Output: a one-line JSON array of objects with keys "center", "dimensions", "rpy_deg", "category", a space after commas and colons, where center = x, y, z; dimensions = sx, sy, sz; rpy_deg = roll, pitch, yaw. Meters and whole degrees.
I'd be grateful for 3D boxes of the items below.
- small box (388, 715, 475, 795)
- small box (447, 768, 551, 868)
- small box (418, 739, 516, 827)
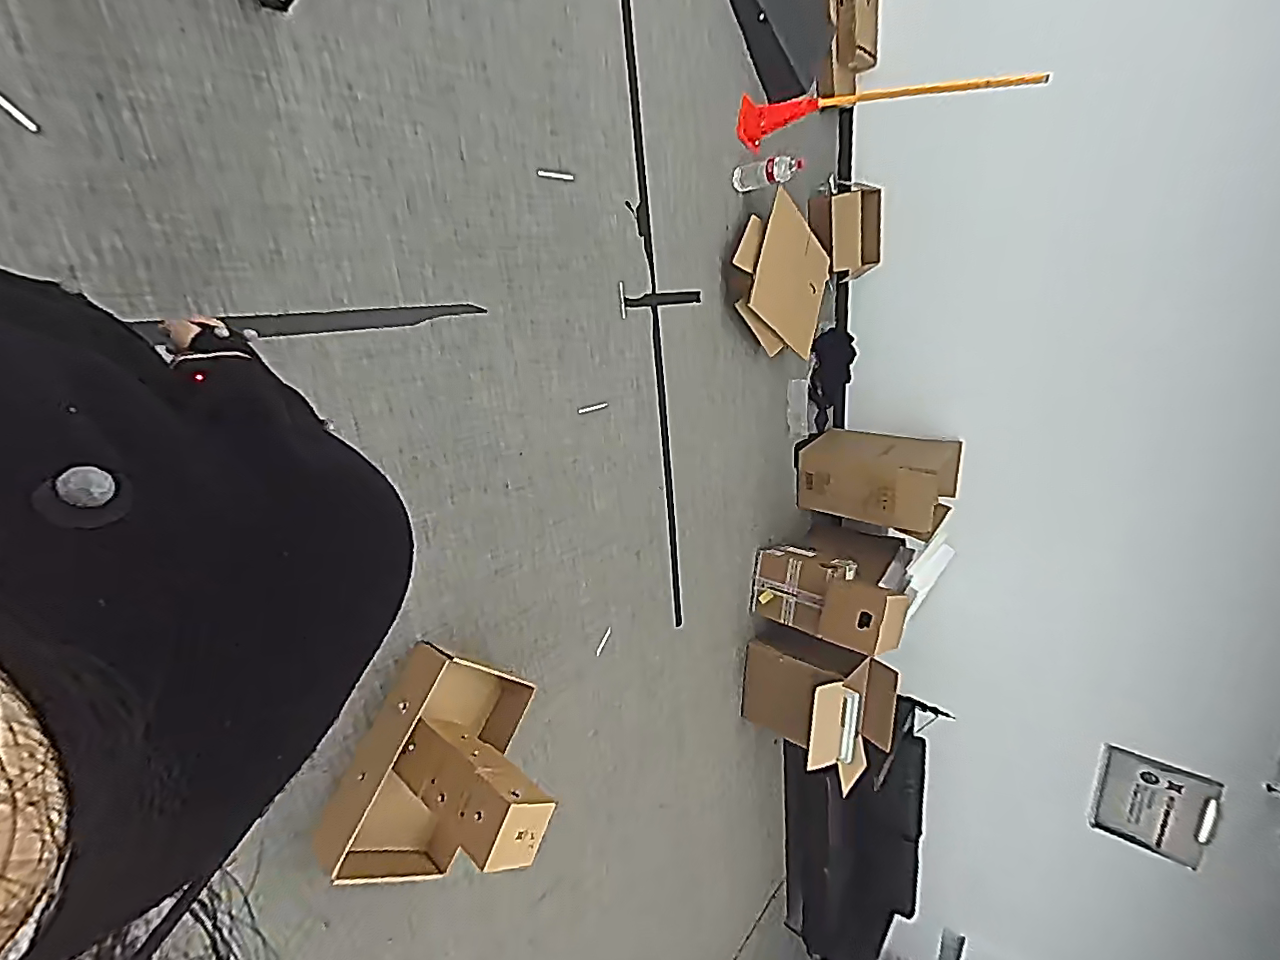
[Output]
[{"center": [-0.627, 0.846, 1.658], "dimensions": [0.179, 0.176, 0.168], "rpy_deg": [43, 66, -45], "category": "small box"}, {"center": [-0.380, 0.897, 1.450], "dimensions": [0.179, 0.176, 0.168], "rpy_deg": [37, 72, -47], "category": "small box"}, {"center": [-0.502, 0.867, 1.558], "dimensions": [0.179, 0.176, 0.168], "rpy_deg": [38, 71, -48], "category": "small box"}]
